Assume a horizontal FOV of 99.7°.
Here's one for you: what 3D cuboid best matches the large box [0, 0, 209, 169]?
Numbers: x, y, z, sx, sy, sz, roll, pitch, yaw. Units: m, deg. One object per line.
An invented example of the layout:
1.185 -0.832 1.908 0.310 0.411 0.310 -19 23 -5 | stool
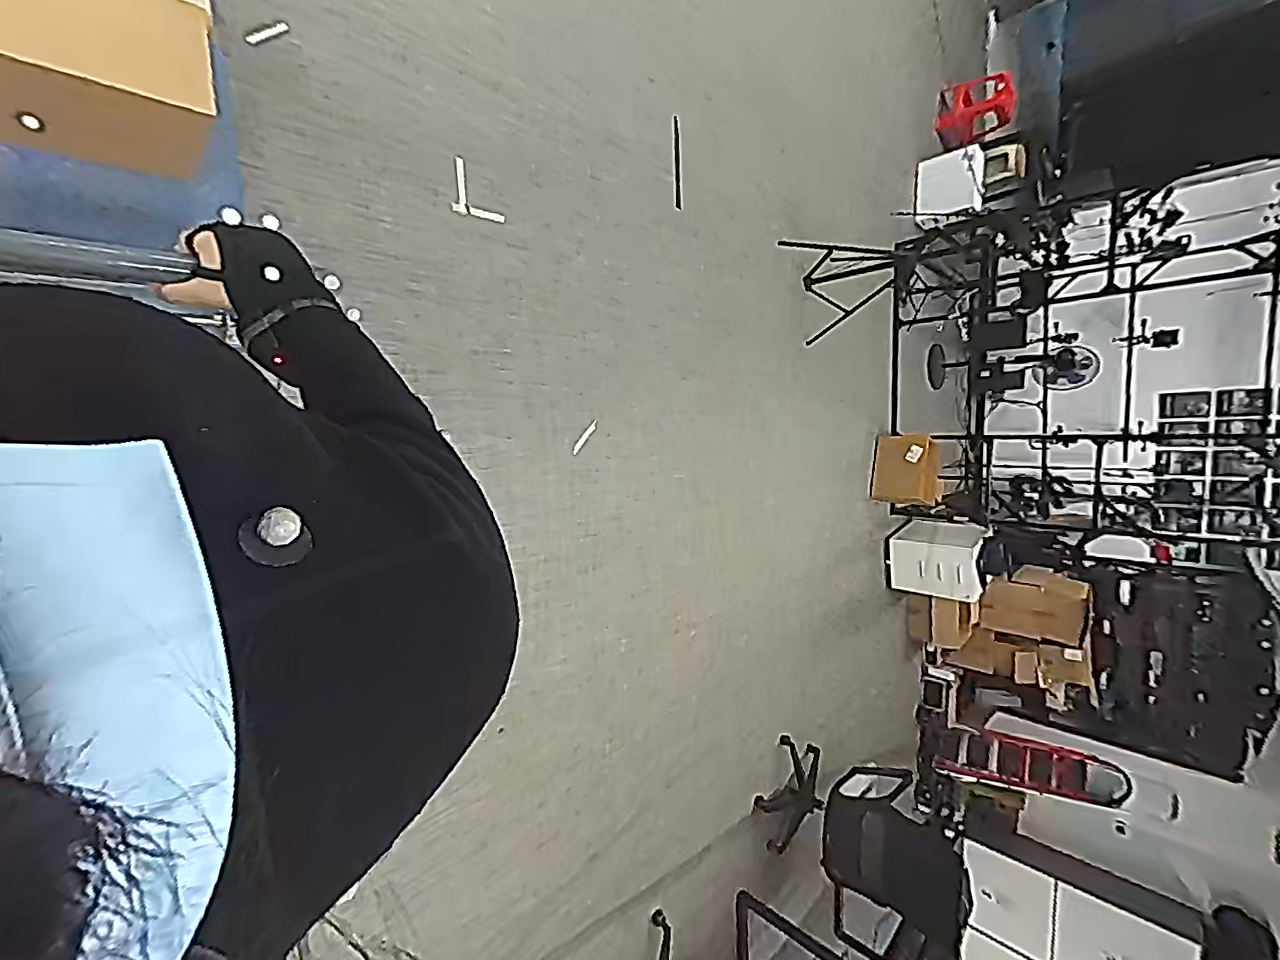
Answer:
-0.904 -0.702 0.770 0.408 0.320 0.320 -9 98 -44 | large box
